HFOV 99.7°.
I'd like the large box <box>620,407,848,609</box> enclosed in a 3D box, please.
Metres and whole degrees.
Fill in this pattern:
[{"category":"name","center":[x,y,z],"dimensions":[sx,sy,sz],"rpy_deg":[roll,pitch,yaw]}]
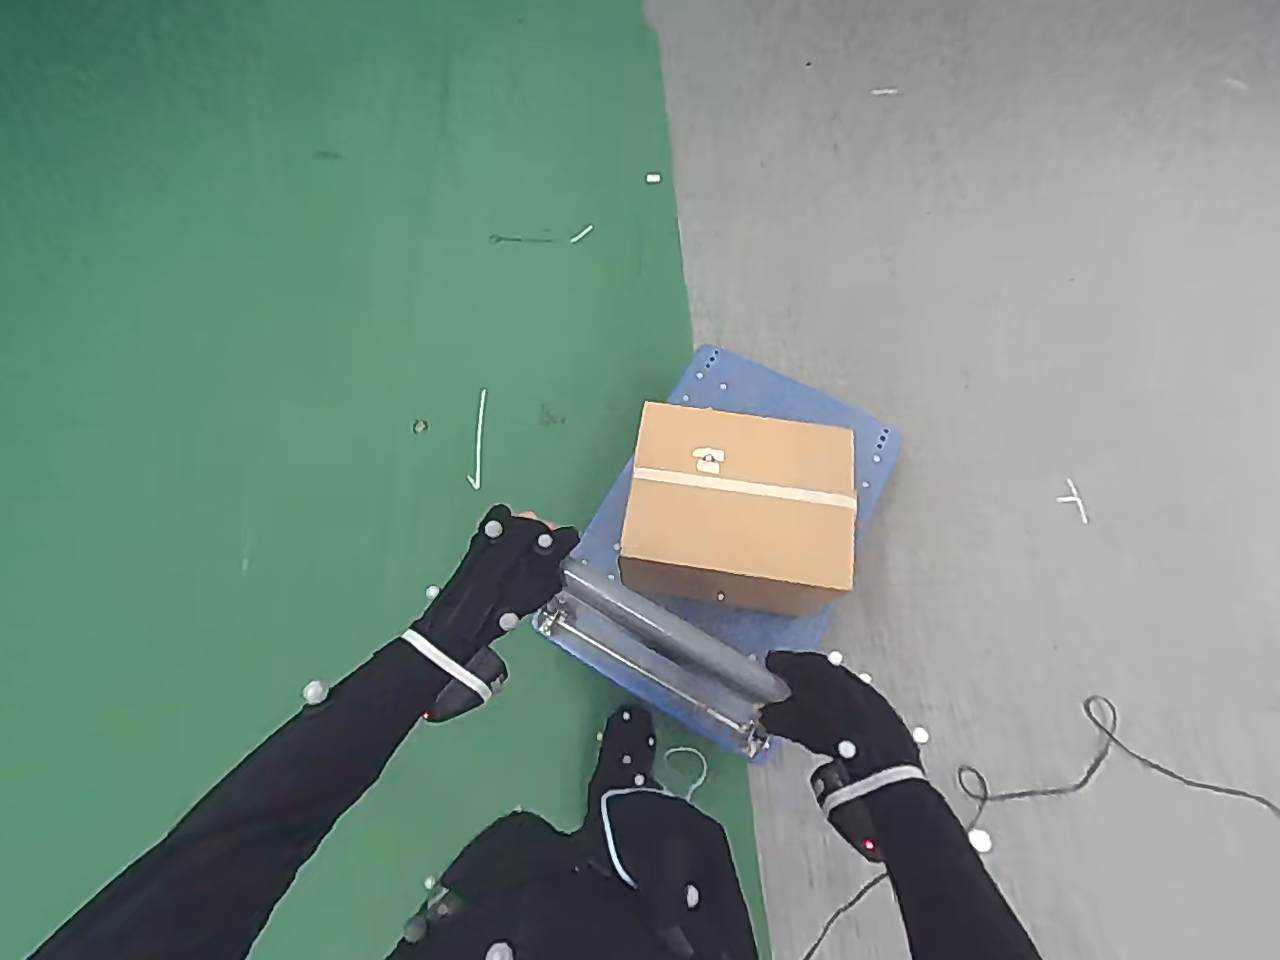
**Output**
[{"category":"large box","center":[0.187,0.073,1.133],"dimensions":[0.408,0.320,0.320],"rpy_deg":[8,67,5]}]
